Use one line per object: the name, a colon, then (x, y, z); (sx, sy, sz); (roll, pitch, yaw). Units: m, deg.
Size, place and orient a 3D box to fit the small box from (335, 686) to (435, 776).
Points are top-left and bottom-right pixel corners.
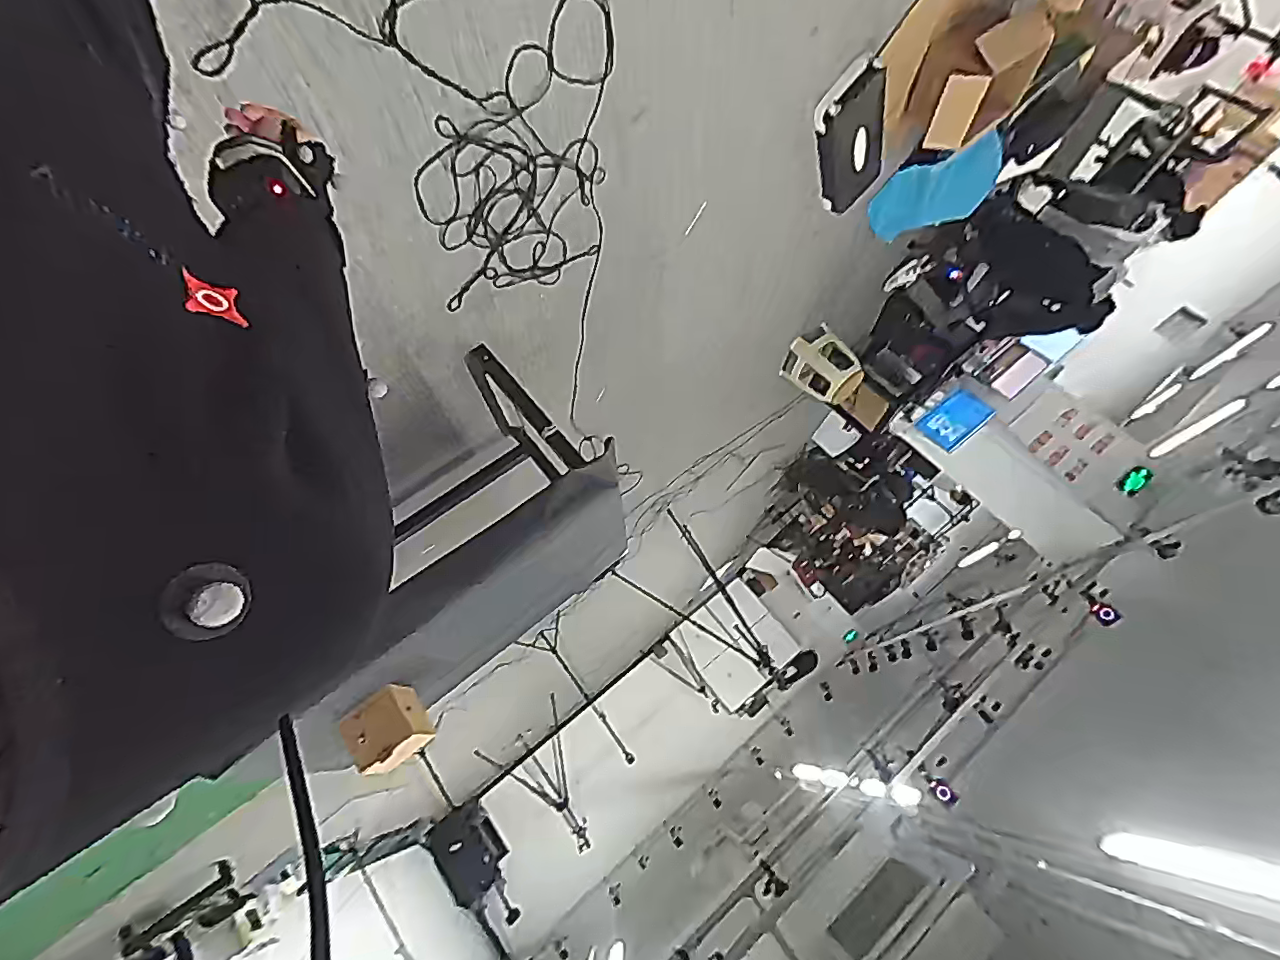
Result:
small box: (-0.727, 0.710, 1.543); (0.168, 0.176, 0.179); (-36, 160, -13)
